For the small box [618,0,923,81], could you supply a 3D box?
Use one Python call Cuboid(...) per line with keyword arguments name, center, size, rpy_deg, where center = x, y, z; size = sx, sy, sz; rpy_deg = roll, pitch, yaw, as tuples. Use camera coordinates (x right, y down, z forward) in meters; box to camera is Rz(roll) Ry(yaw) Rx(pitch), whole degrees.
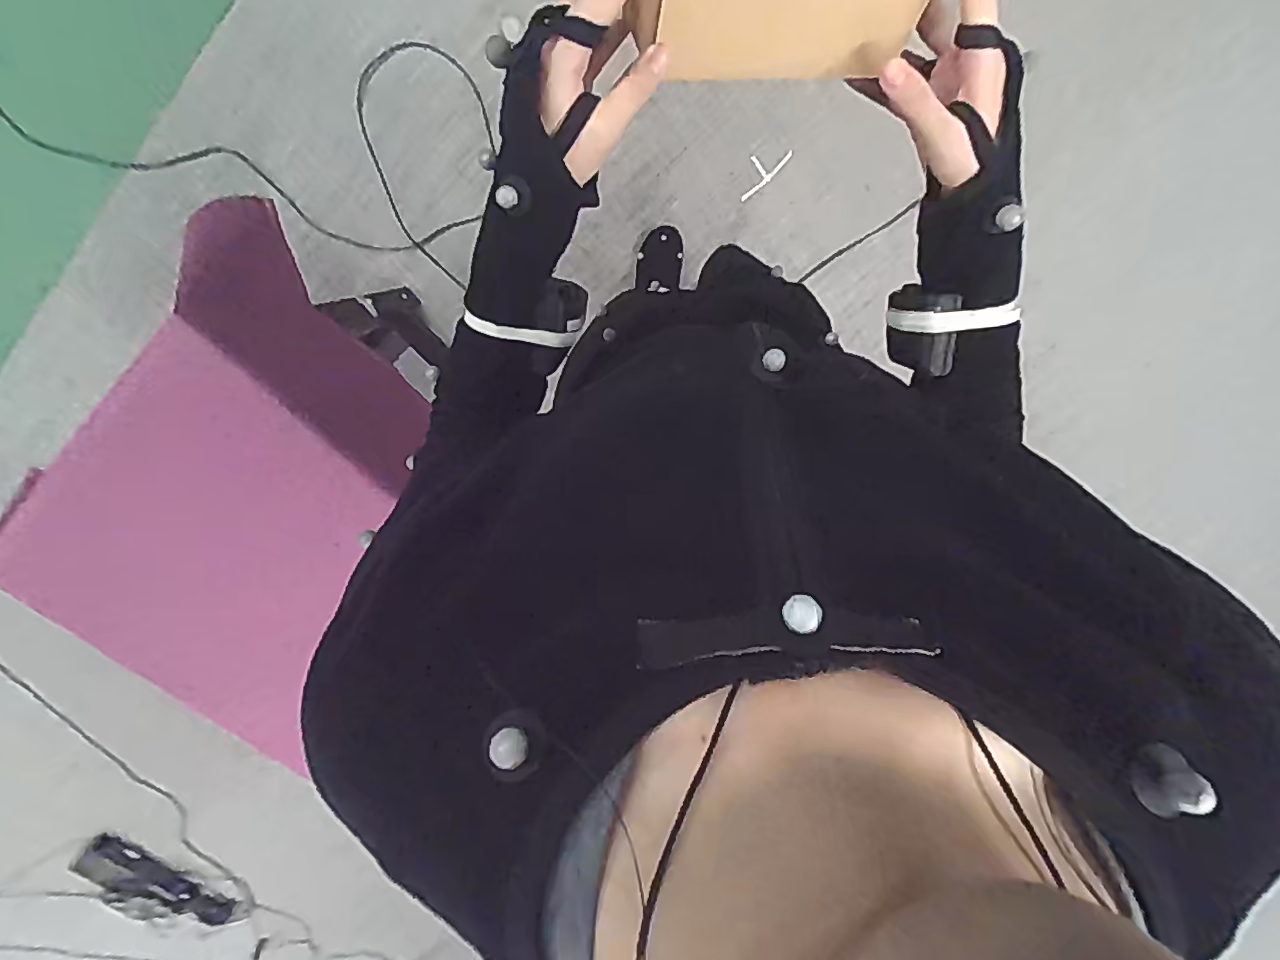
Cuboid(name="small box", center=(0.071, -0.353, 0.282), size=(0.168, 0.176, 0.179), rpy_deg=(-10, 159, -12))
